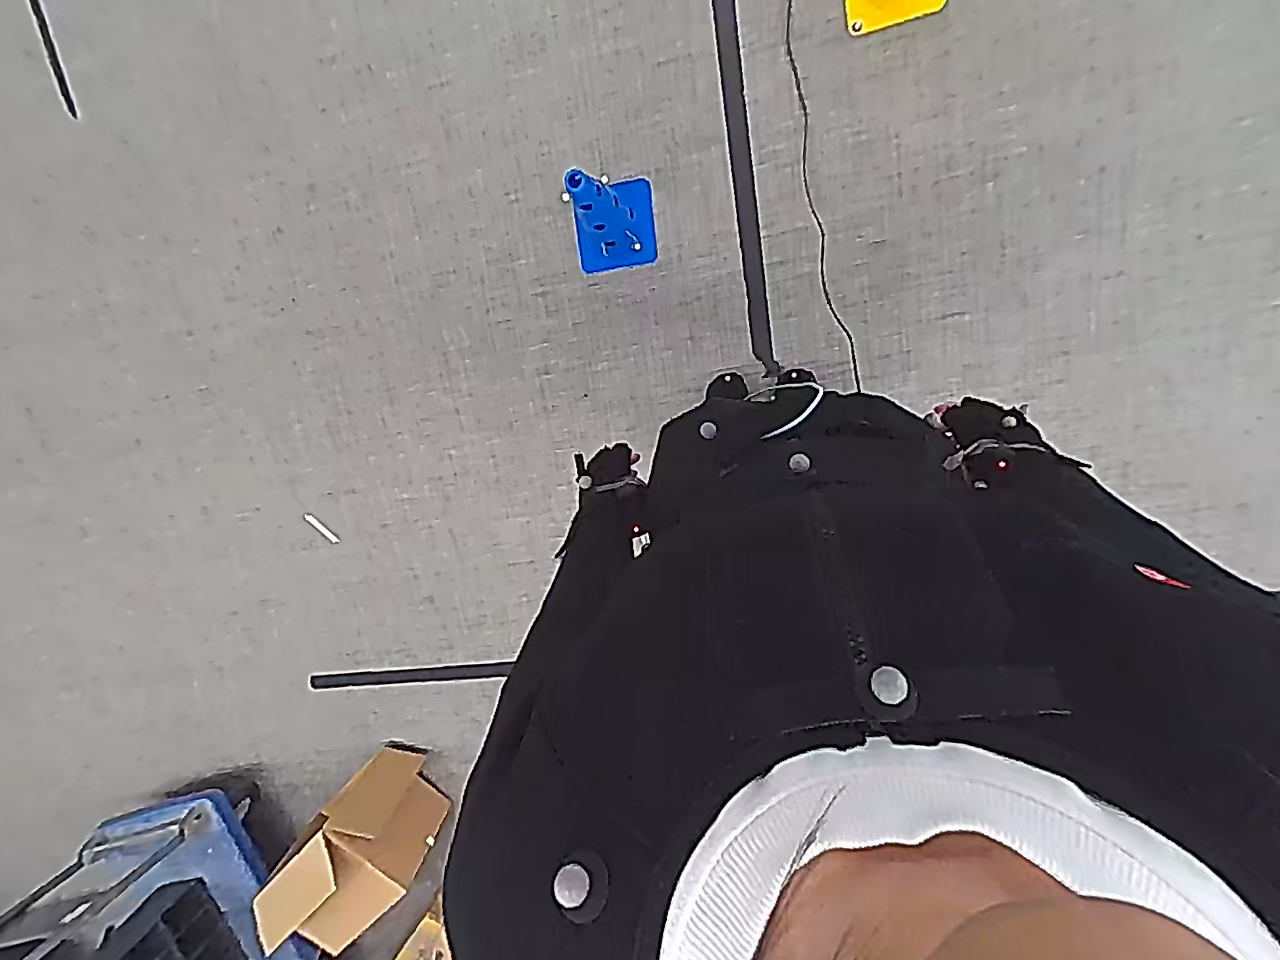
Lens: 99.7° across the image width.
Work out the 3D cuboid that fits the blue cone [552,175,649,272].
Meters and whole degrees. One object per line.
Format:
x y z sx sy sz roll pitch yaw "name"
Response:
-0.105 -0.598 1.198 0.192 0.380 0.193 -3 101 12 "blue cone"
